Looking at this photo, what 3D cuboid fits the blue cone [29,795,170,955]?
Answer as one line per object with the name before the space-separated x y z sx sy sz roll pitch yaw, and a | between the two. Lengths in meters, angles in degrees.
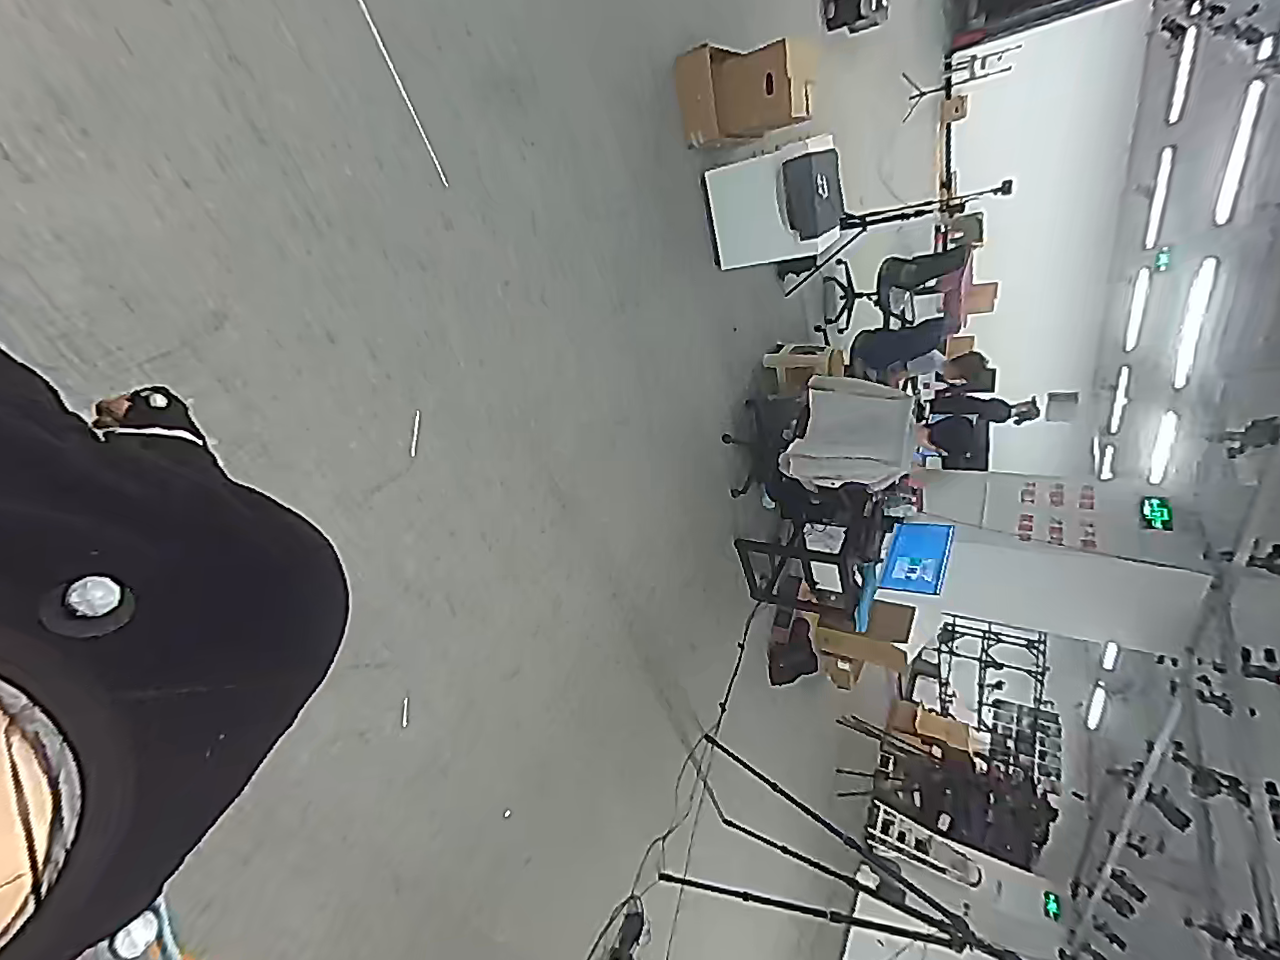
blue cone | -1.000 0.789 1.046 0.193 0.380 0.192 11 84 -57
